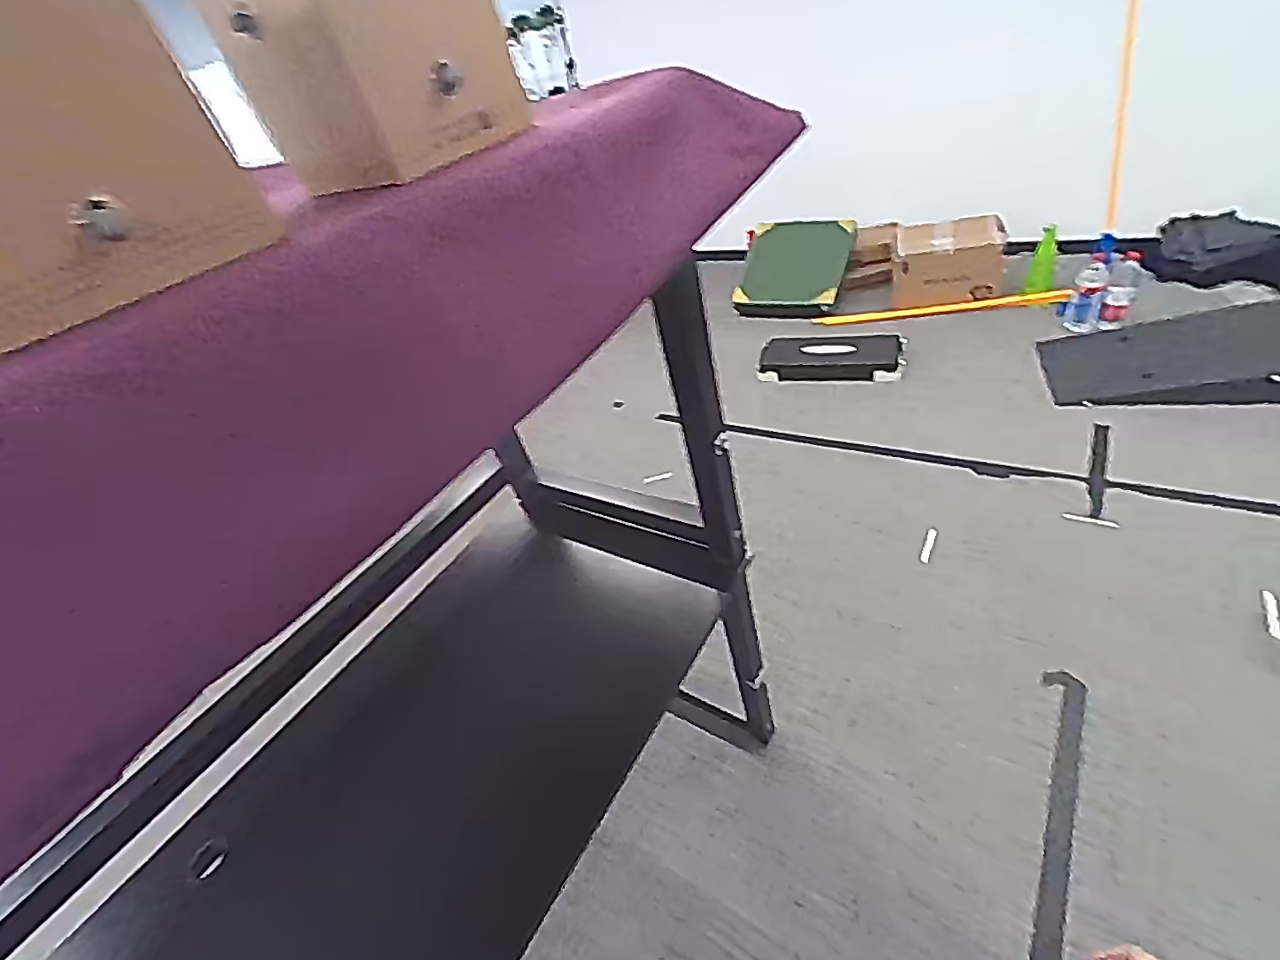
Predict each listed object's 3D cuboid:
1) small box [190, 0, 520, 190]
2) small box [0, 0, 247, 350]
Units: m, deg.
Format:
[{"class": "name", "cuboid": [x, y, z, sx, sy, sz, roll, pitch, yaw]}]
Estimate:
[{"class": "small box", "cuboid": [-0.240, -0.368, 0.468, 0.179, 0.176, 0.168, 16, 51, 35]}, {"class": "small box", "cuboid": [-0.378, -0.193, 0.317, 0.168, 0.176, 0.179, 16, 49, 35]}]
